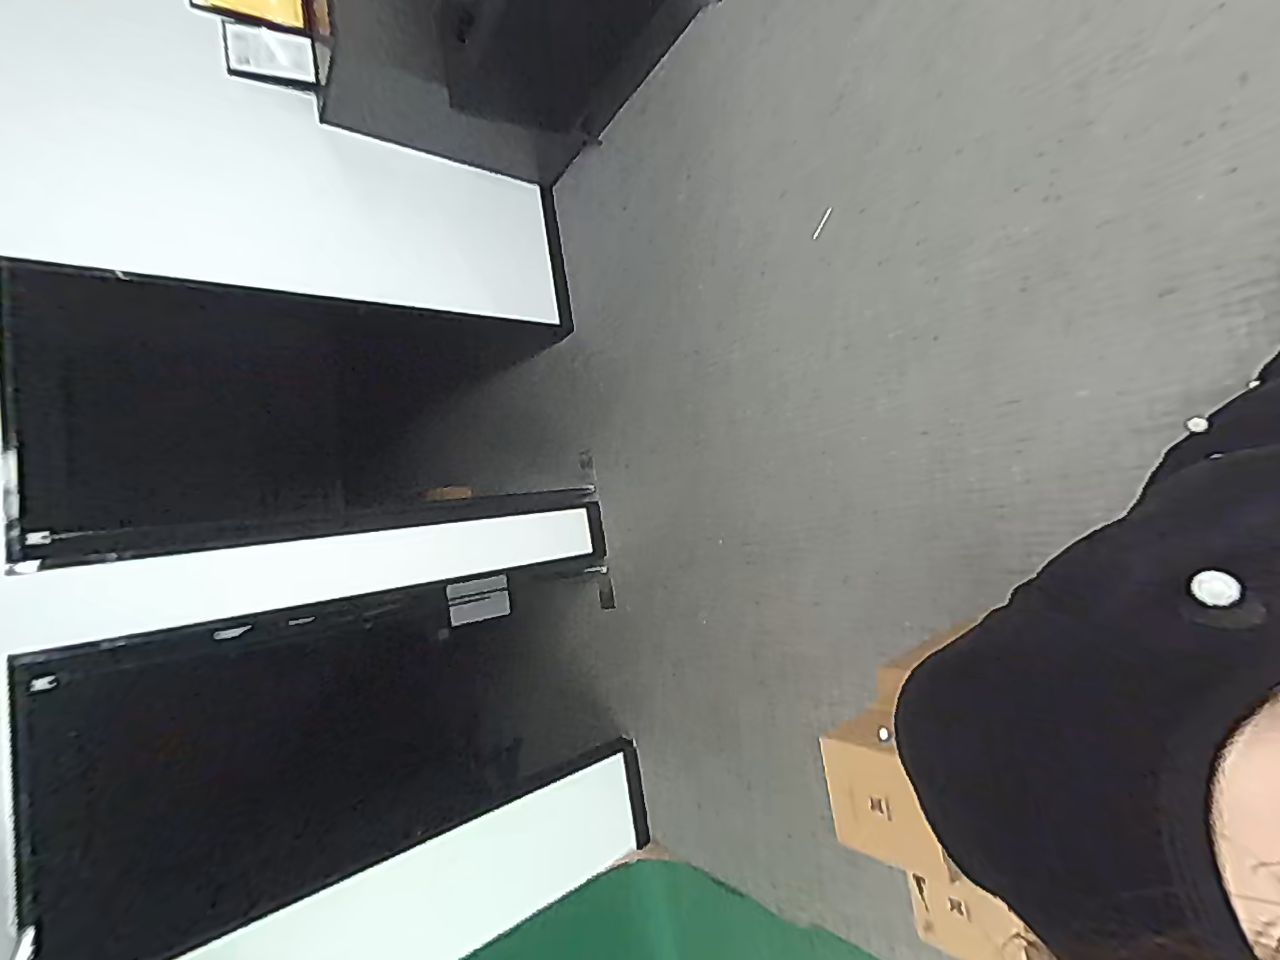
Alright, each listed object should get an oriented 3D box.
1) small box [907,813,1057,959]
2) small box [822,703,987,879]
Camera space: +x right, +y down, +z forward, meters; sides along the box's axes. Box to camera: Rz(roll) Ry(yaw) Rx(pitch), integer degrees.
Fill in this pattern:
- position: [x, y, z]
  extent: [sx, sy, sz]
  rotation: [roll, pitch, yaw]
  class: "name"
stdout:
- position: [0.590, 0.690, 0.933]
  extent: [0.179, 0.176, 0.168]
  rotation: [-15, 80, 51]
  class: "small box"
- position: [0.423, 0.473, 0.859]
  extent: [0.179, 0.176, 0.168]
  rotation: [-14, 83, 52]
  class: "small box"
